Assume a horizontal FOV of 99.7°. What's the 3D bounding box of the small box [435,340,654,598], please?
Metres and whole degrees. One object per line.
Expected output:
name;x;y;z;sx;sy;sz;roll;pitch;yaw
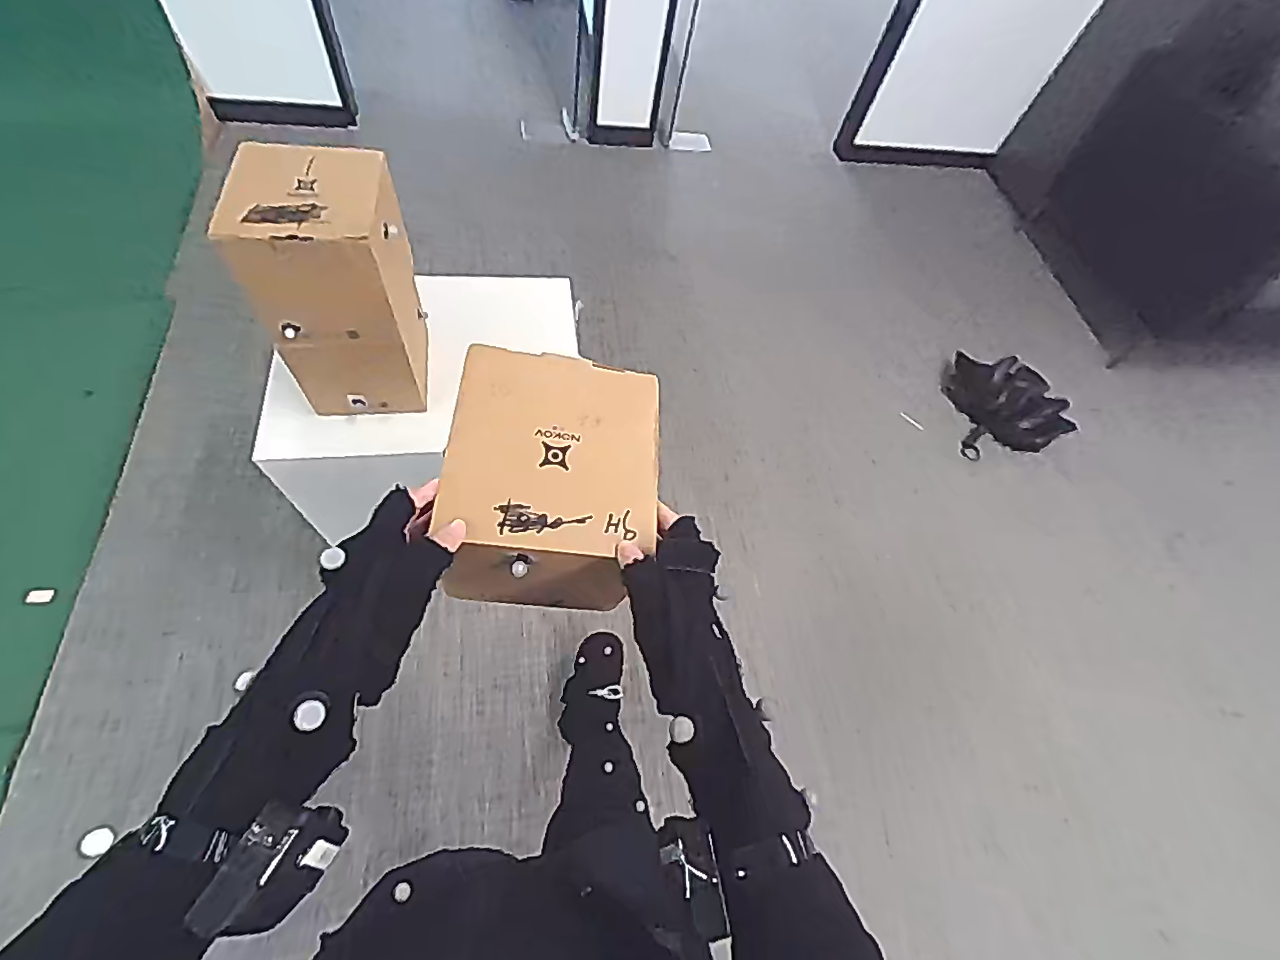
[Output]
small box;-0.088;0.000;0.516;0.168;0.176;0.179;8;62;-11

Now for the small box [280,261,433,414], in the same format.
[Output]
small box;-0.425;-0.223;0.842;0.168;0.176;0.179;-5;63;-12

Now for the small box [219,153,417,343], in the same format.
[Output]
small box;-0.403;-0.296;0.715;0.168;0.176;0.179;-2;60;-10
